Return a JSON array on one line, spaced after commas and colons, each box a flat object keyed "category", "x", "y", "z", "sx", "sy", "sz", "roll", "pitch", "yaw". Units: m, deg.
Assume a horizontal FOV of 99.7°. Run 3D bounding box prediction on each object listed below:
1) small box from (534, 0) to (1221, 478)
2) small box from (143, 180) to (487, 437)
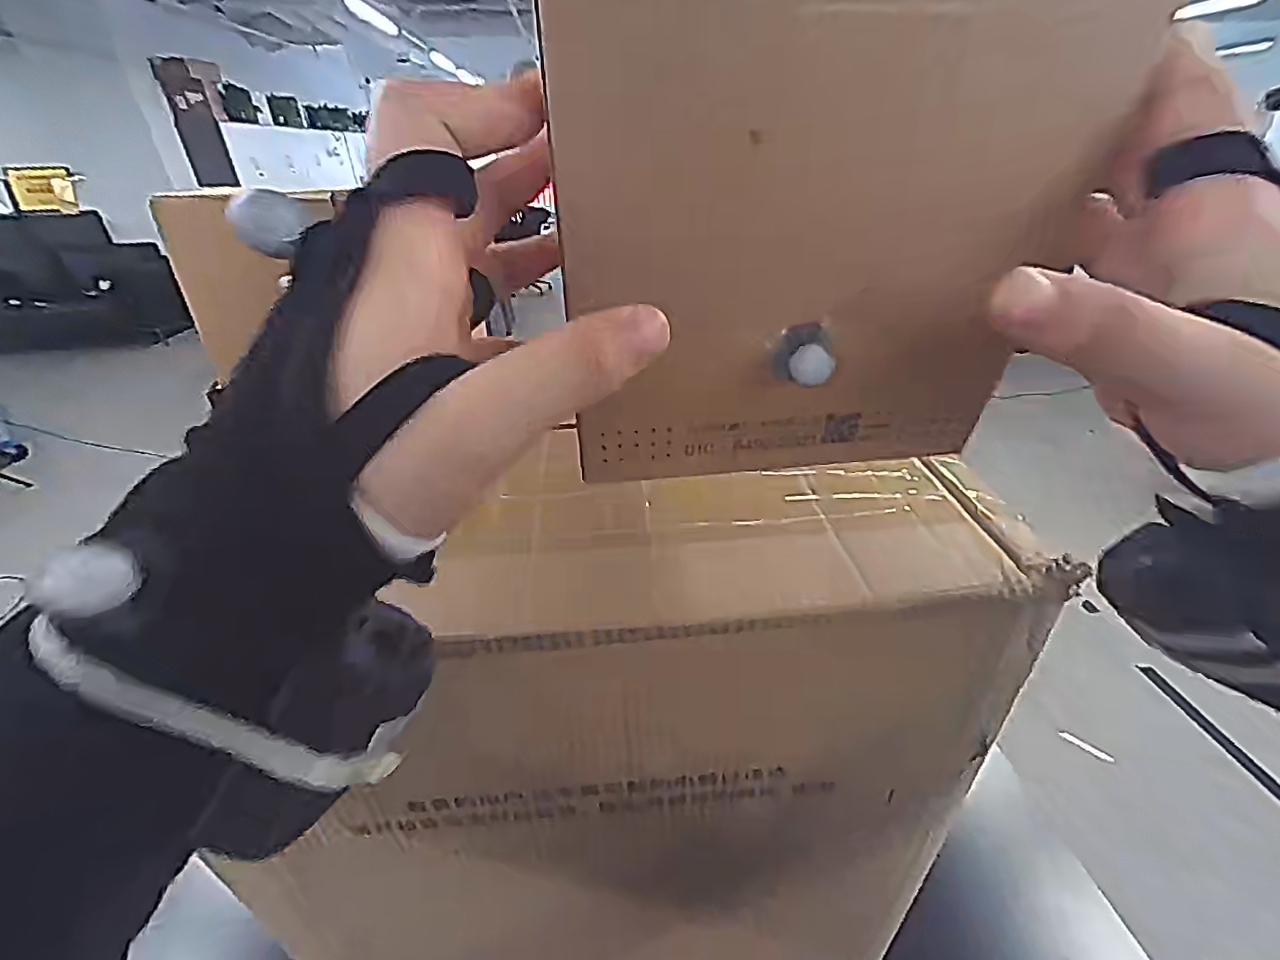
[{"category": "small box", "x": 0.048, "y": -0.122, "z": 0.222, "sx": 0.168, "sy": 0.176, "sz": 0.179, "roll": -5, "pitch": 43, "yaw": -4}, {"category": "small box", "x": -0.224, "y": -0.141, "z": 0.438, "sx": 0.168, "sy": 0.176, "sz": 0.179, "roll": -5, "pitch": 30, "yaw": -8}]
